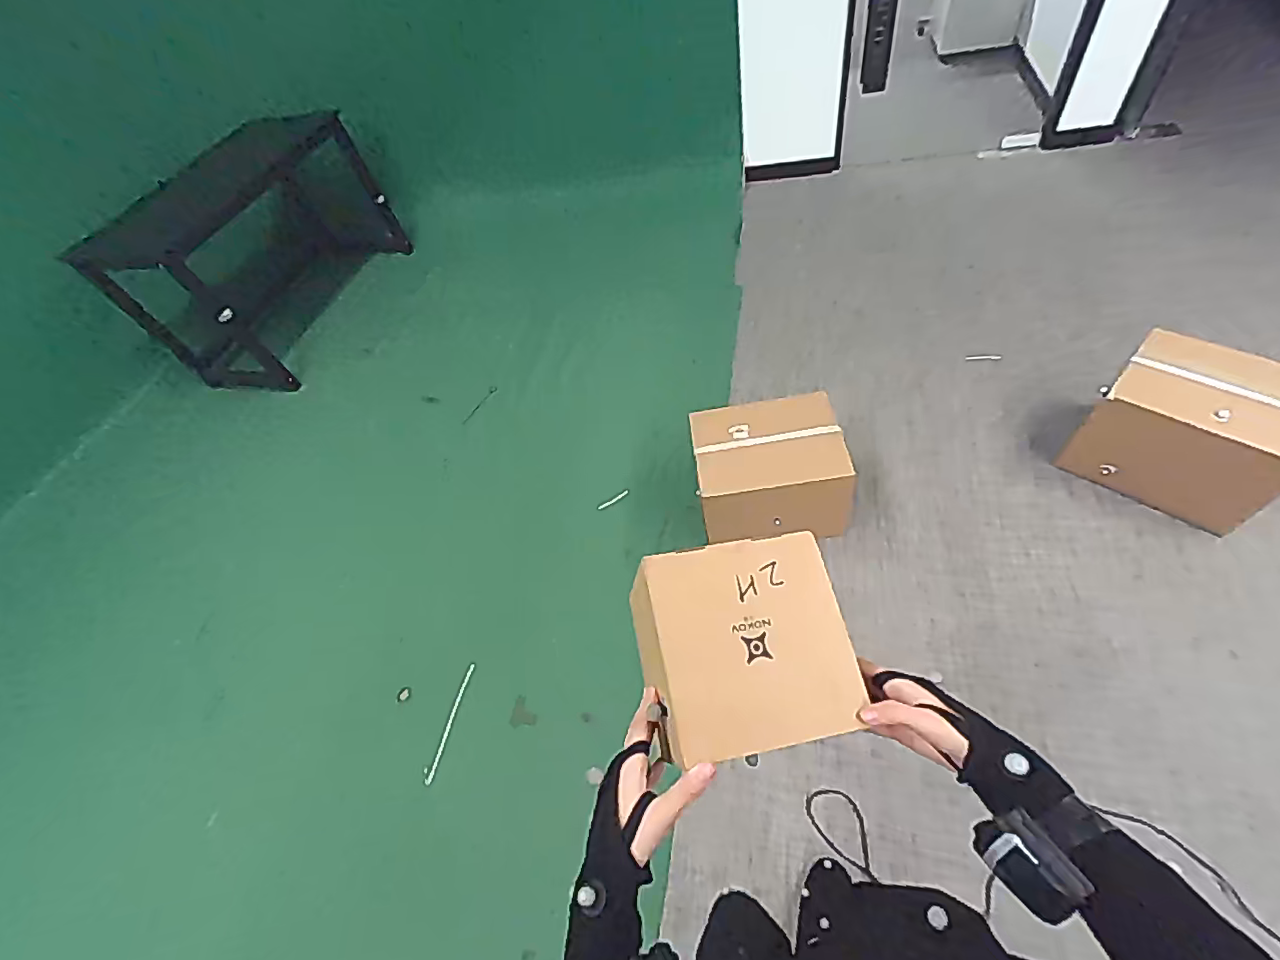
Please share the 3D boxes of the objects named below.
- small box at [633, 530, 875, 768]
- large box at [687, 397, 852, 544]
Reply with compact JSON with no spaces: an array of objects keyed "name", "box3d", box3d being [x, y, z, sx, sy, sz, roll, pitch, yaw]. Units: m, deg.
[{"name":"small box","box3d":[0.091,0.167,0.531,0.168,0.176,0.179,-7,65,-10]},{"name":"large box","box3d":[0.374,-0.002,1.614,0.408,0.320,0.320,-9,52,7]}]
